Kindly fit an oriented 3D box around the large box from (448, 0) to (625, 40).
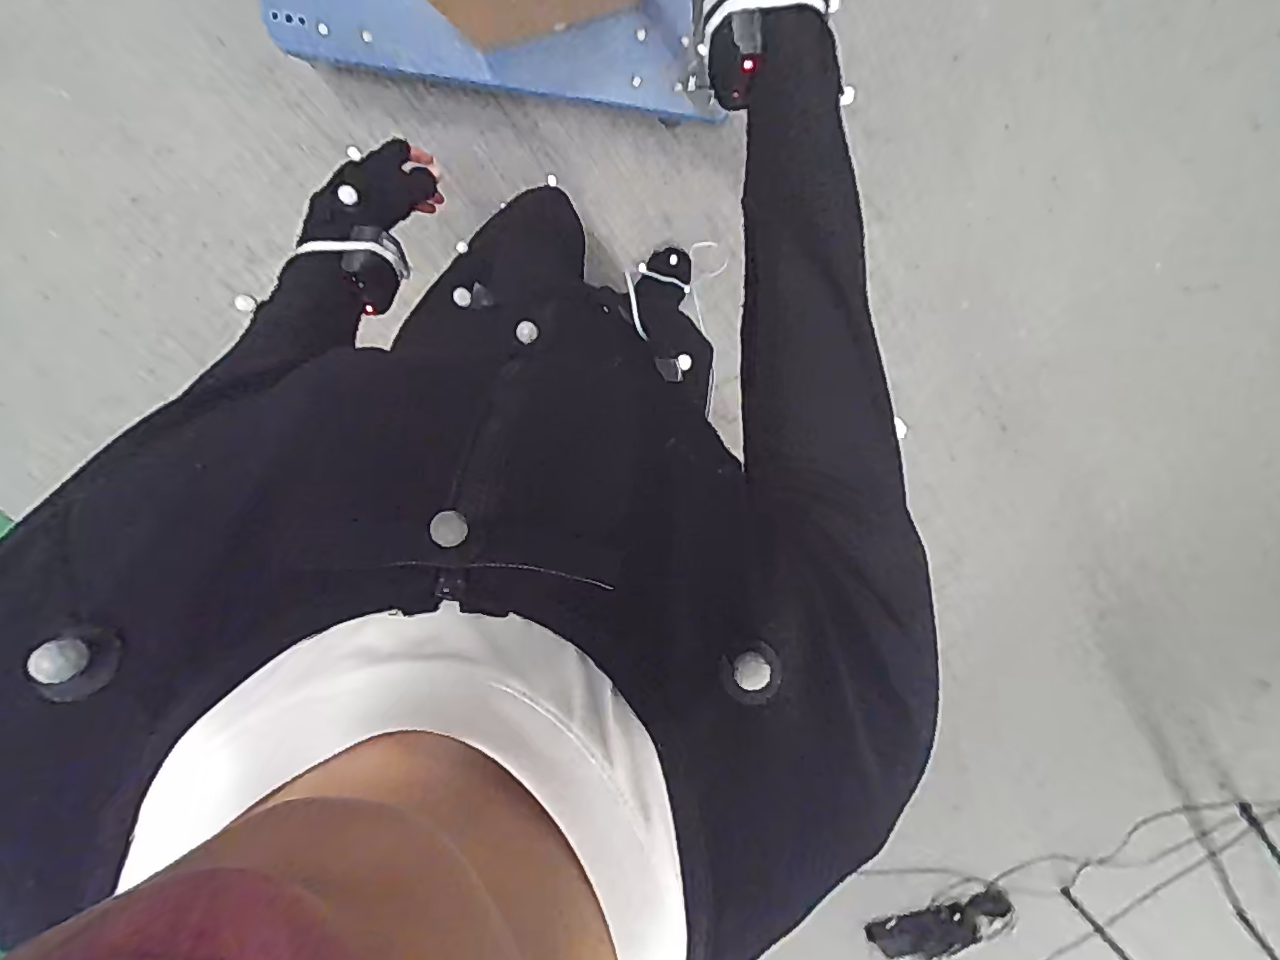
[{"bbox_3d":[-0.182,-0.932,0.749,0.320,0.320,0.408,-10,116,7],"label":"large box"}]
